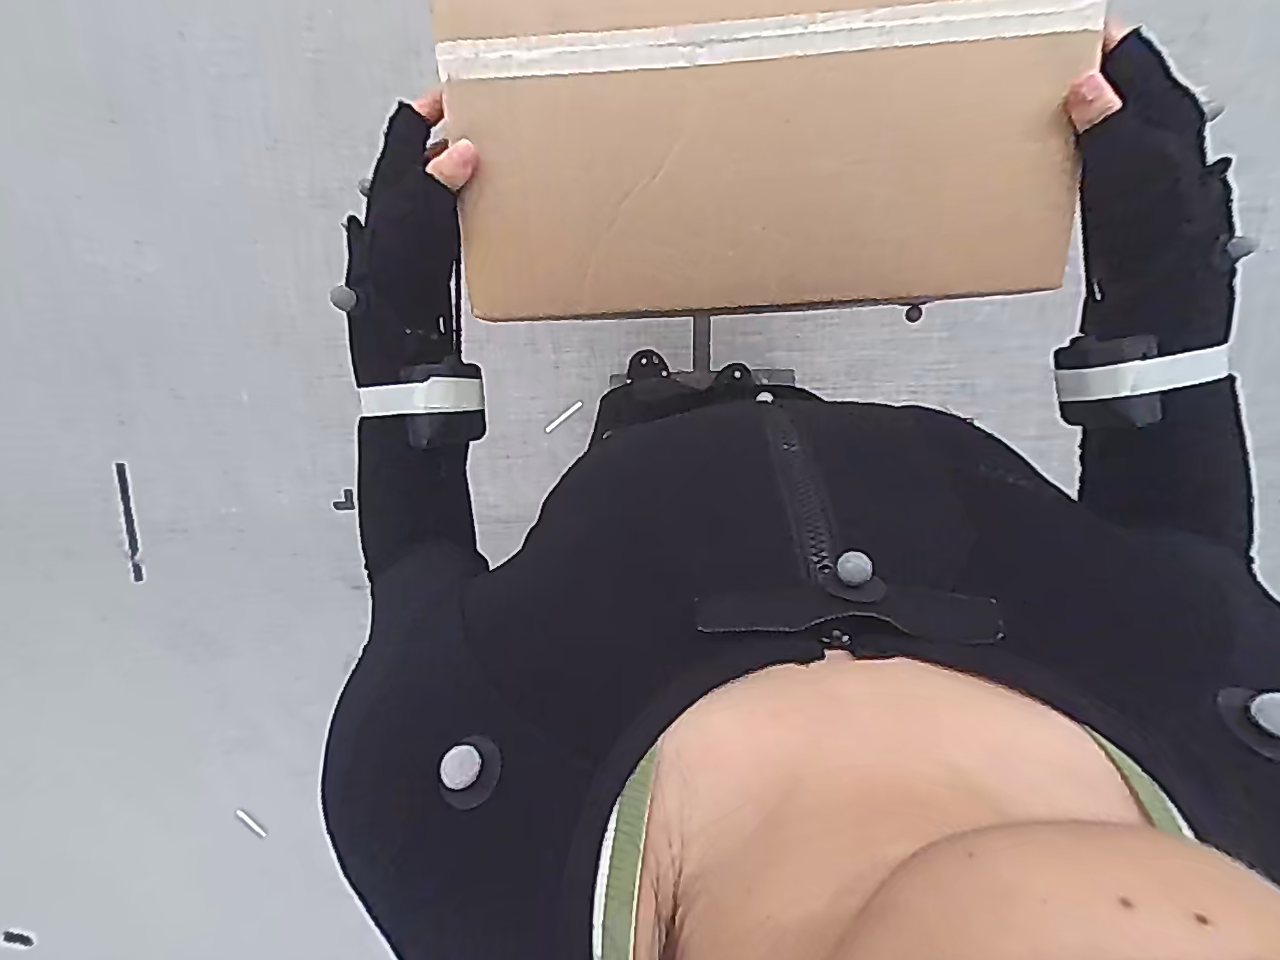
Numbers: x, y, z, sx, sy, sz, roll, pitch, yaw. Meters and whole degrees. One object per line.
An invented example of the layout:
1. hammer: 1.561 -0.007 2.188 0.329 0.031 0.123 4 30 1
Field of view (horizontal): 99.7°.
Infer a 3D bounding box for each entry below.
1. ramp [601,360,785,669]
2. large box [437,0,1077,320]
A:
1. ramp: 0.158 0.154 1.604 0.509 0.206 0.991 -3 101 1
2. large box: 0.075 -0.318 0.486 0.408 0.320 0.320 -2 106 1
